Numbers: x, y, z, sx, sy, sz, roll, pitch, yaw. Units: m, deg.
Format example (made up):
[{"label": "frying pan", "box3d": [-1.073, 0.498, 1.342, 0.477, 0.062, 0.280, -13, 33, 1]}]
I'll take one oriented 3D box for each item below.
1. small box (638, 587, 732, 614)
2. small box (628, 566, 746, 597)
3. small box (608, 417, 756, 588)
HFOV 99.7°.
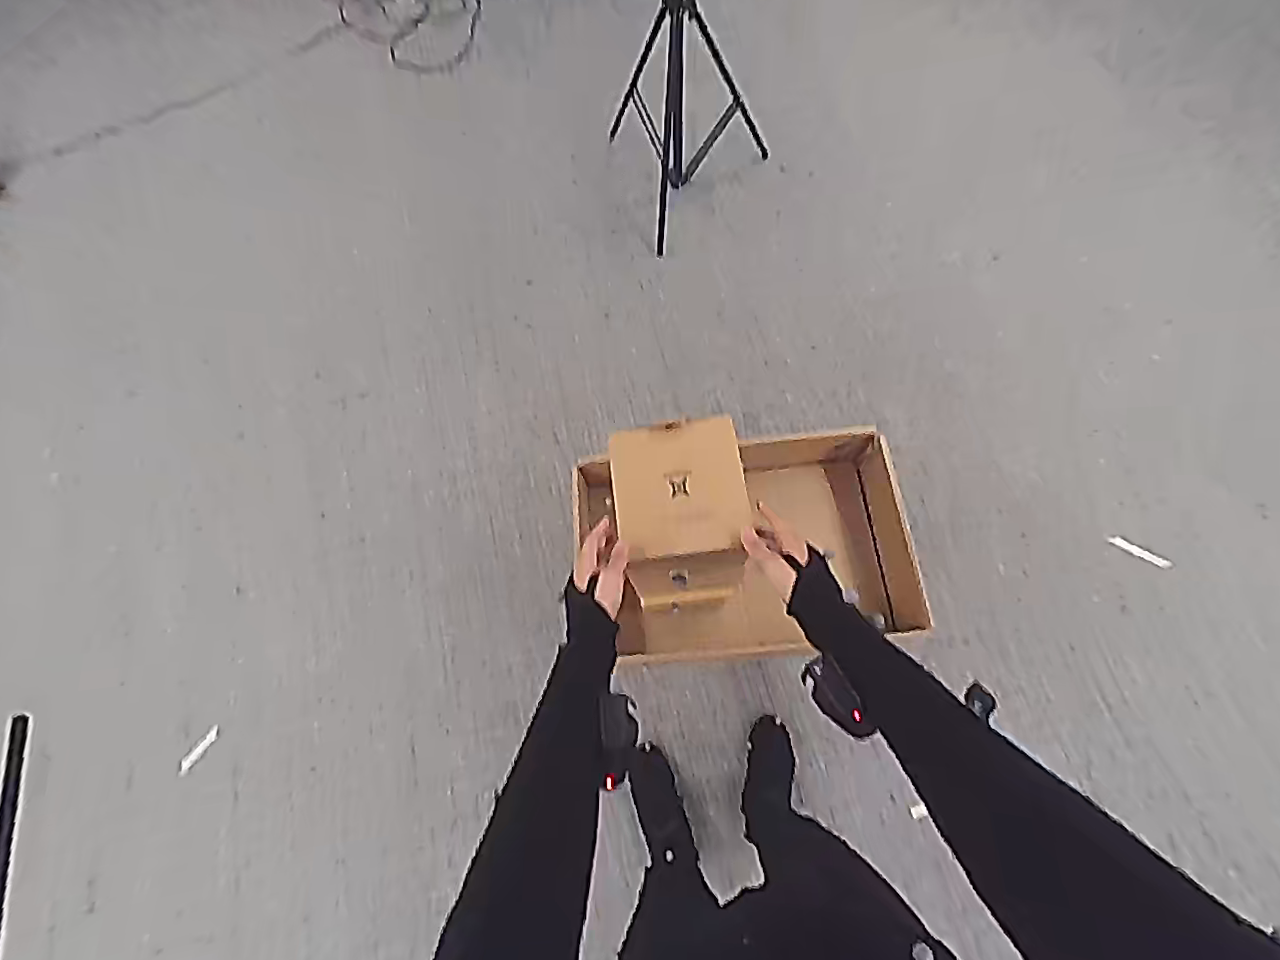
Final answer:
[{"label": "small box", "box3d": [0.078, 0.159, 1.041, 0.168, 0.176, 0.179, -7, 69, 1]}, {"label": "small box", "box3d": [0.070, 0.094, 0.890, 0.179, 0.176, 0.168, -6, 69, 2]}, {"label": "small box", "box3d": [0.053, 0.038, 0.737, 0.168, 0.176, 0.179, -8, 68, 2]}]
